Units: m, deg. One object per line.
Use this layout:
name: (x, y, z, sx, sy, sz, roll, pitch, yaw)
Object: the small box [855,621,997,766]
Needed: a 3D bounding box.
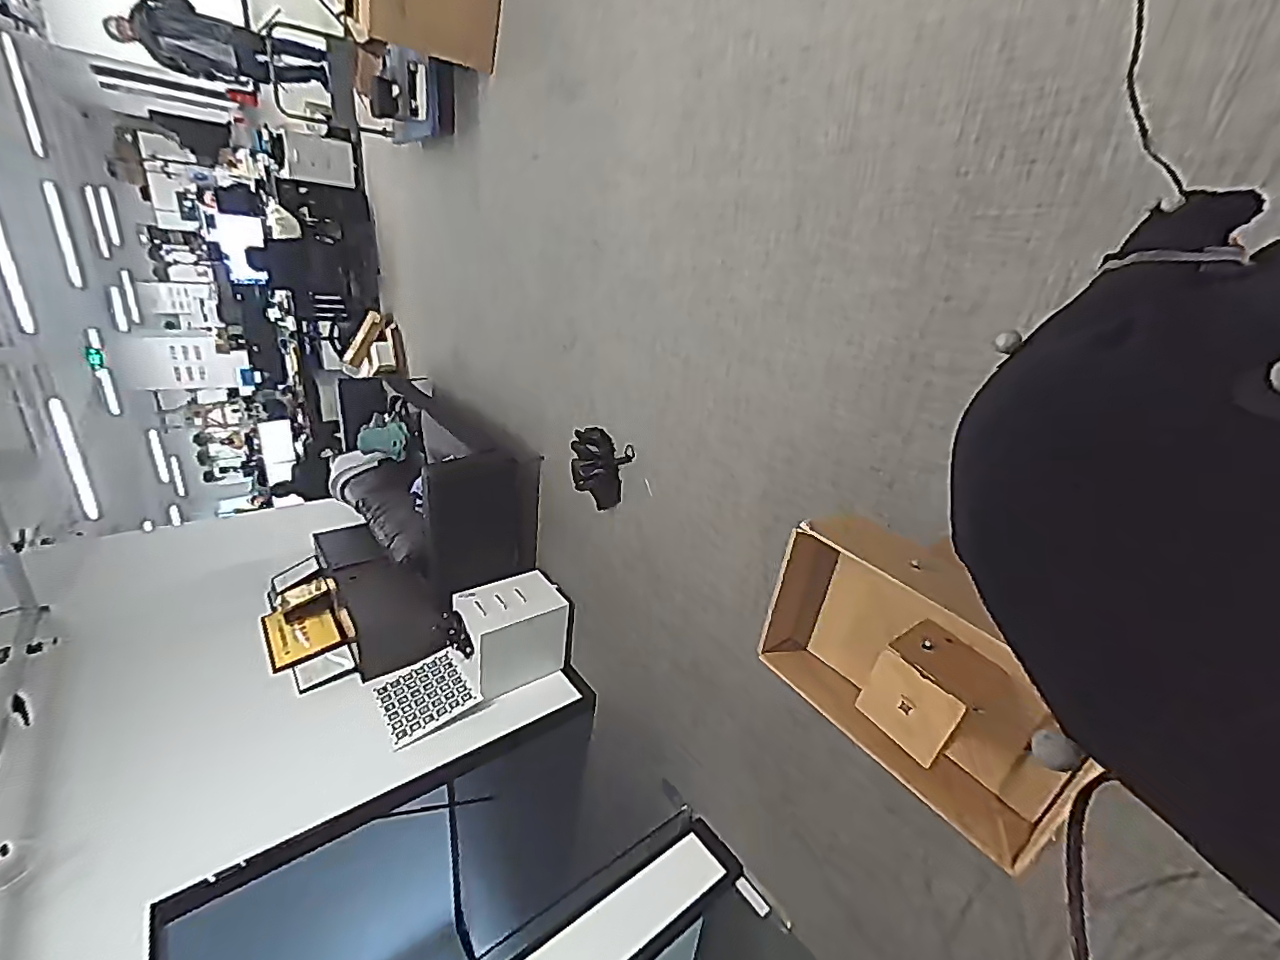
small box: (0.568, 0.411, 1.071, 0.168, 0.176, 0.179, 39, 131, 43)
